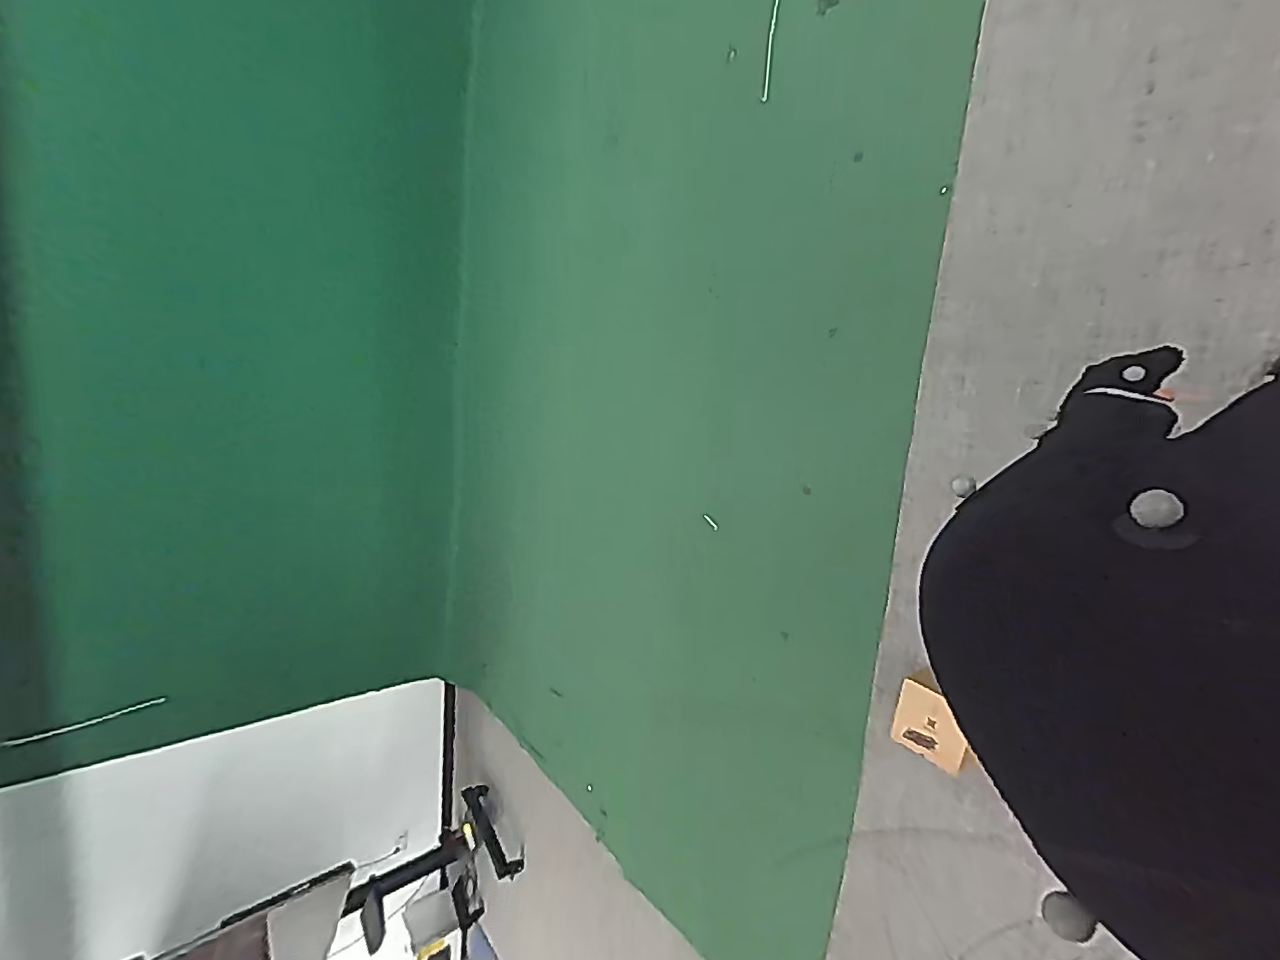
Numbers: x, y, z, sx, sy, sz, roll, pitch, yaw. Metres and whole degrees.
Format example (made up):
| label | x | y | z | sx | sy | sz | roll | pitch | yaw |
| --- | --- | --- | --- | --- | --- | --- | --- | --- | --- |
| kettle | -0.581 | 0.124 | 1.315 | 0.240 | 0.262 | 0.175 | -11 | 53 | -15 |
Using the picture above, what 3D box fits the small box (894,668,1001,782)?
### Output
| label | x | y | z | sx | sy | sz | roll | pitch | yaw |
| --- | --- | --- | --- | --- | --- | --- | --- | --- | --- |
| small box | 0.767 | 0.598 | 1.344 | 0.168 | 0.176 | 0.179 | 20 | 105 | 48 |
